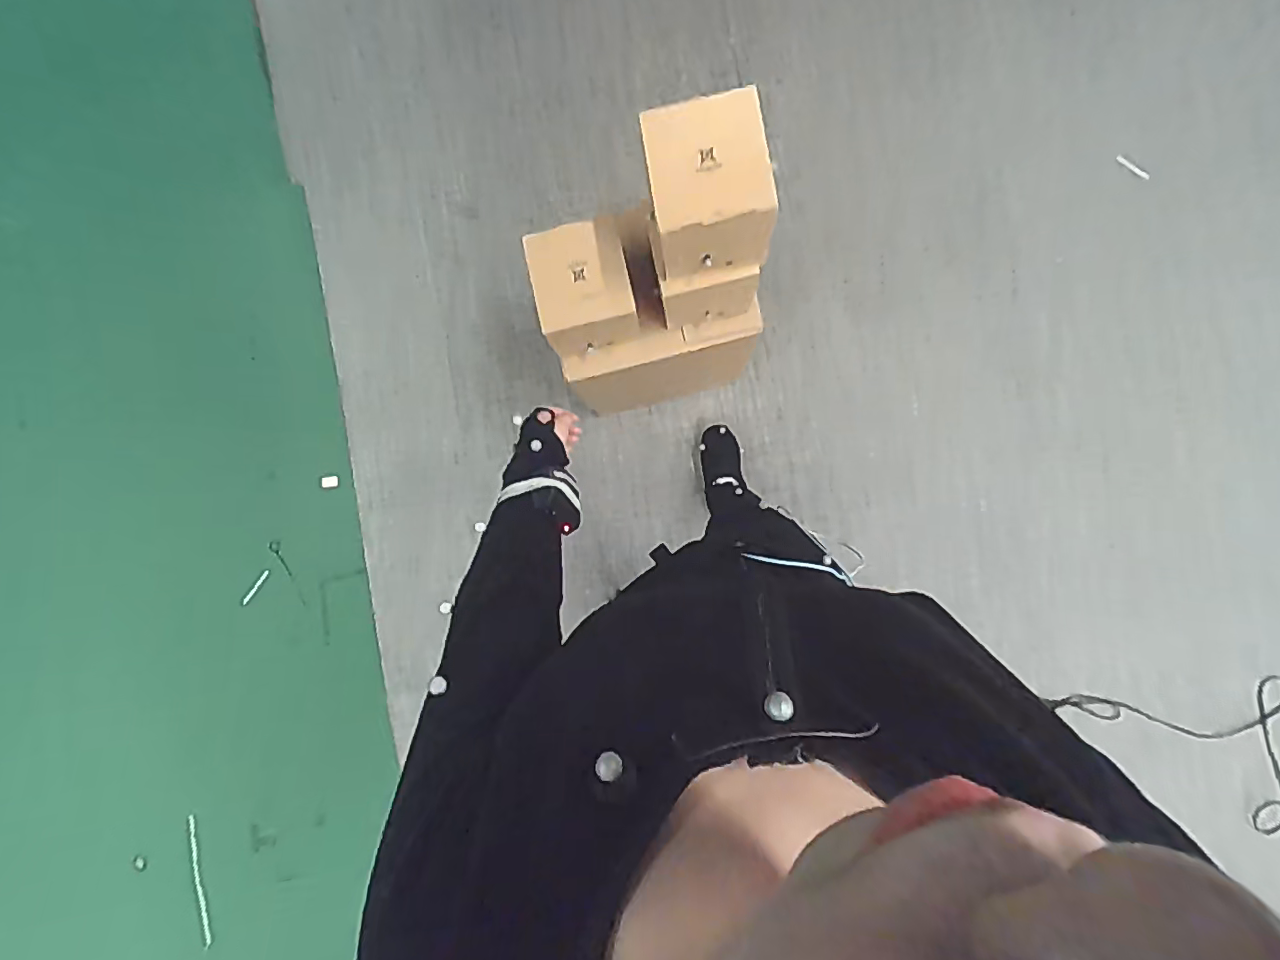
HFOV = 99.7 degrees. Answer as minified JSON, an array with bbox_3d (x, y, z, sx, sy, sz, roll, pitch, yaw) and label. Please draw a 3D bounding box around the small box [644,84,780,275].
[{"bbox_3d":[0.103,-0.441,0.819,0.168,0.176,0.179,-9,86,5],"label":"small box"}]
